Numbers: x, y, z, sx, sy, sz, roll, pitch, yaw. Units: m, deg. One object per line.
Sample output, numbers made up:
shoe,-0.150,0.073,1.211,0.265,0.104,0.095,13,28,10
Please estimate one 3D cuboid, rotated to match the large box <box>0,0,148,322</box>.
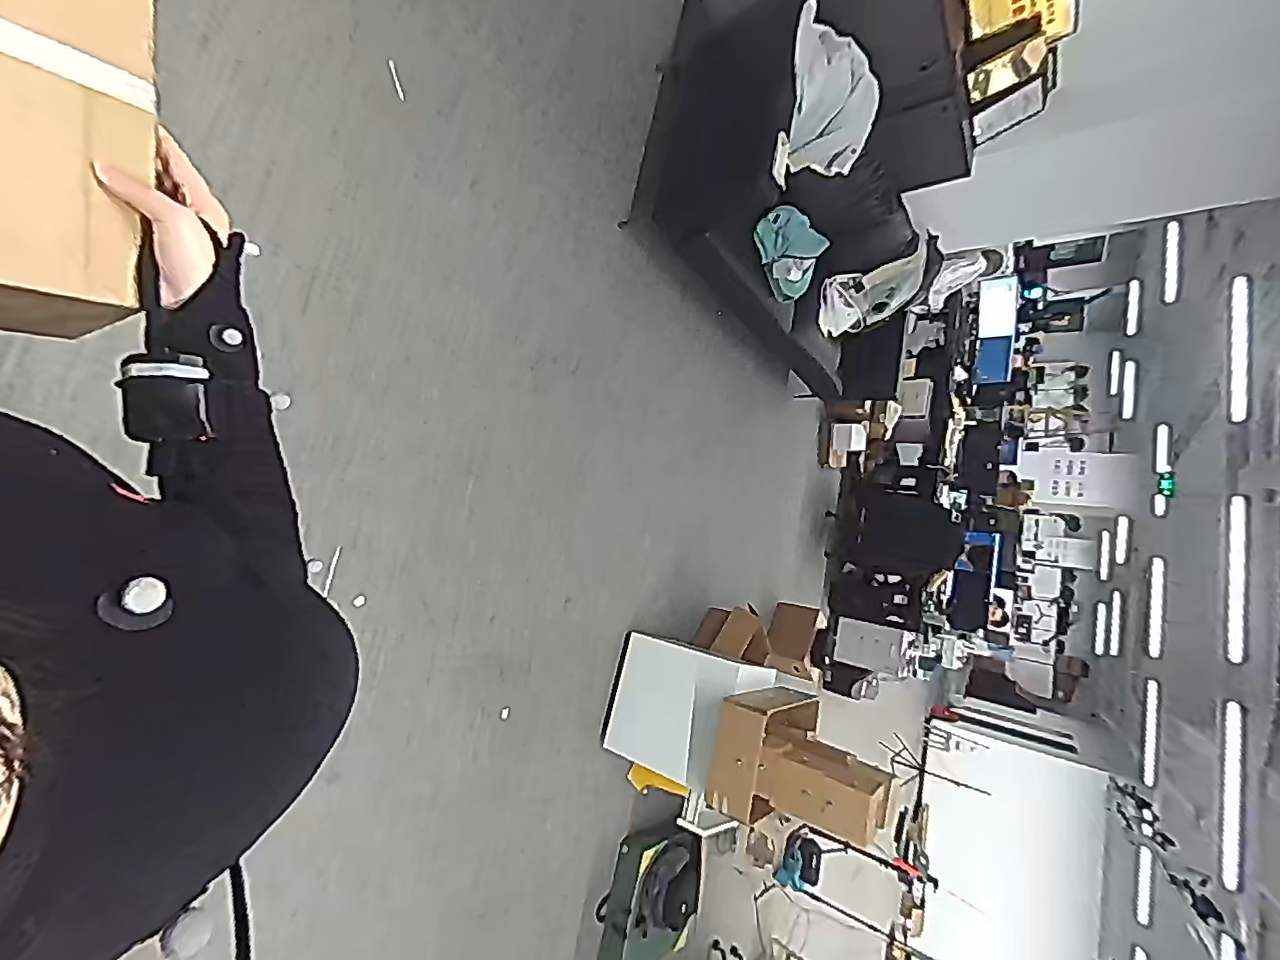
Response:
large box,-0.613,-0.304,0.332,0.408,0.320,0.320,-1,97,-55
